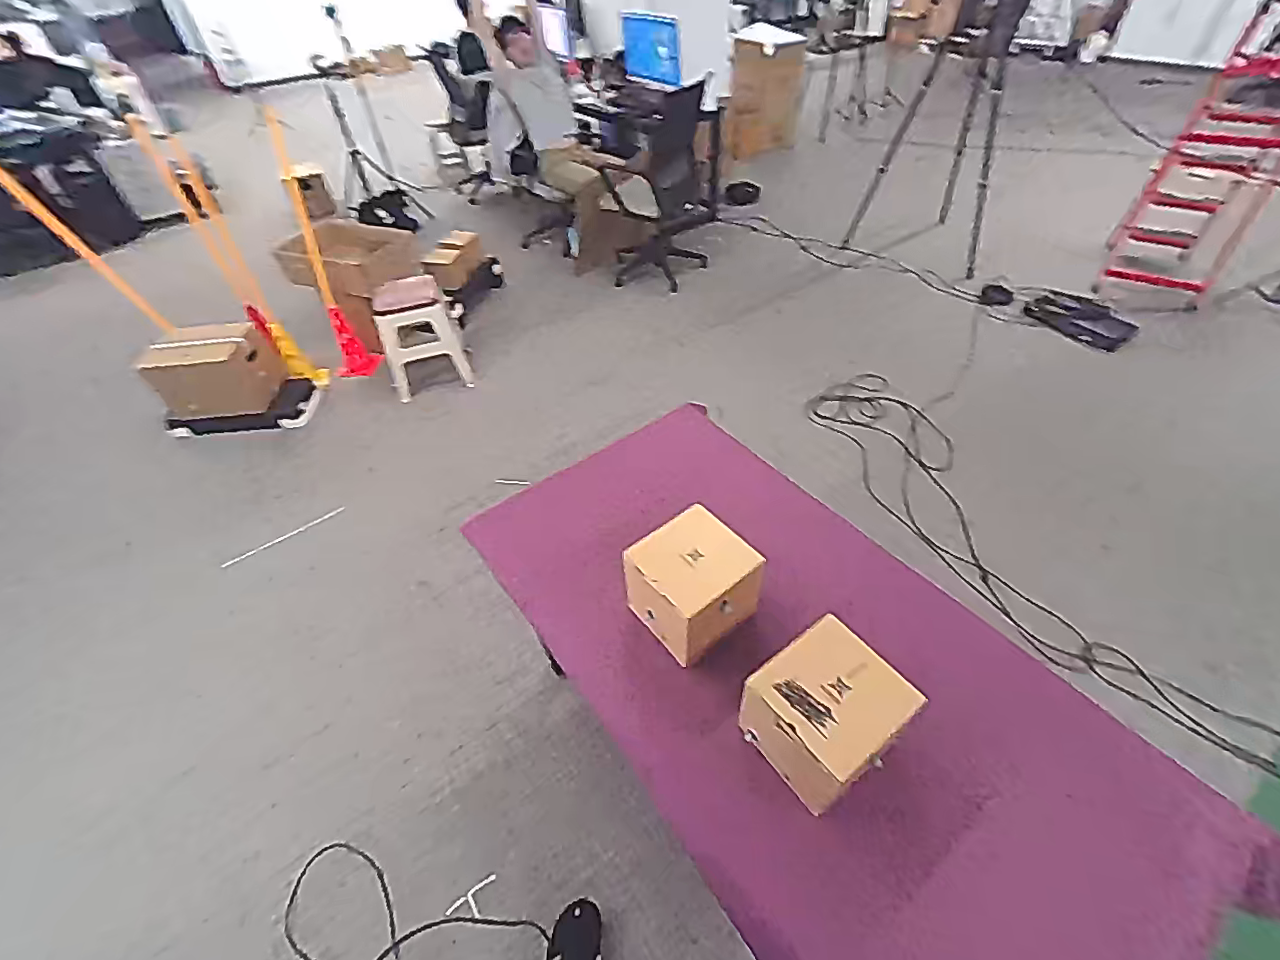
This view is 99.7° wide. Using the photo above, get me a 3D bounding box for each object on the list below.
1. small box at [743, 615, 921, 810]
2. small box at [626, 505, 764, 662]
[{"bbox_3d":[0.268,0.342,0.791,0.179,0.176,0.168,-31,50,-21],"label":"small box"},{"bbox_3d":[0.093,0.183,0.959,0.179,0.176,0.168,-32,52,-23],"label":"small box"}]
